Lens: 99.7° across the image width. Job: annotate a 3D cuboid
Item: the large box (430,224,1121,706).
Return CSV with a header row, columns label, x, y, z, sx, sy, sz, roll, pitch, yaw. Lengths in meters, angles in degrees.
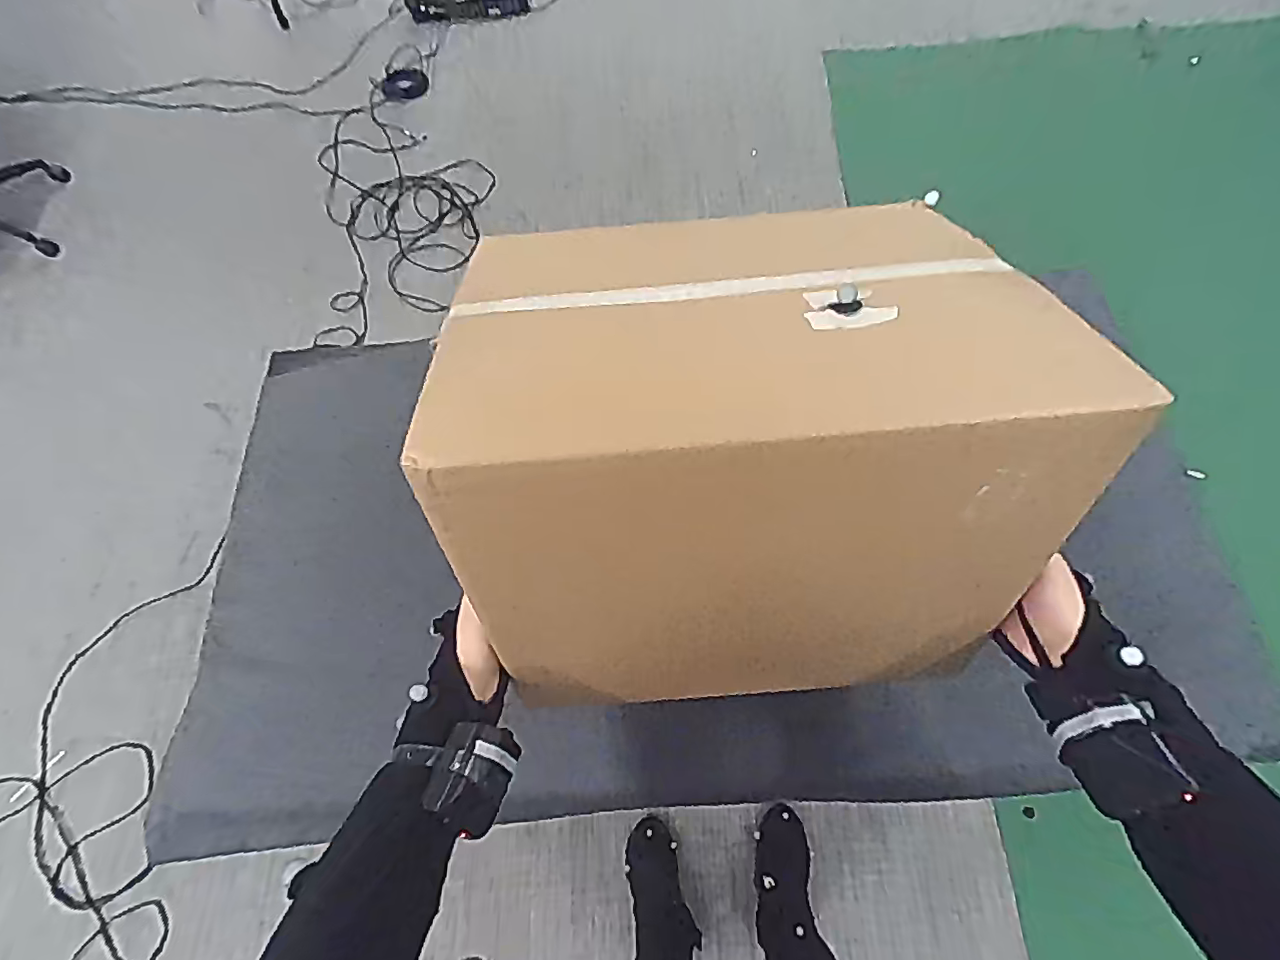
label,x,y,z,sx,sy,sz,roll,pitch,yaw
large box,0.074,-0.015,0.511,0.408,0.320,0.320,-5,46,0
